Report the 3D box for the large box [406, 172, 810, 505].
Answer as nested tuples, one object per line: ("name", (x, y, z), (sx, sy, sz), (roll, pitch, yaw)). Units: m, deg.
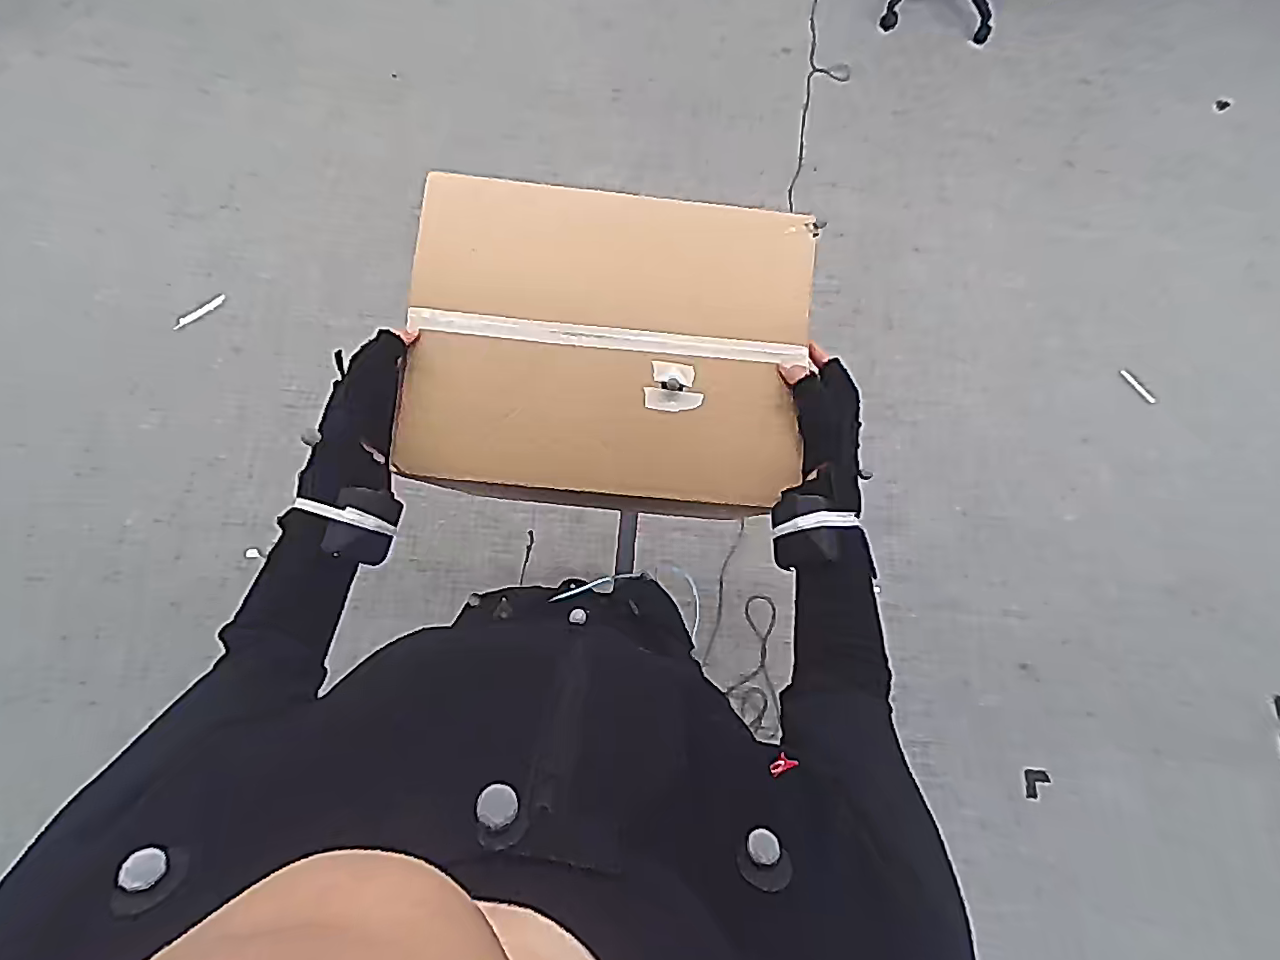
("large box", (-0.036, -0.142, 0.708), (0.408, 0.320, 0.320), (6, 85, -3))
